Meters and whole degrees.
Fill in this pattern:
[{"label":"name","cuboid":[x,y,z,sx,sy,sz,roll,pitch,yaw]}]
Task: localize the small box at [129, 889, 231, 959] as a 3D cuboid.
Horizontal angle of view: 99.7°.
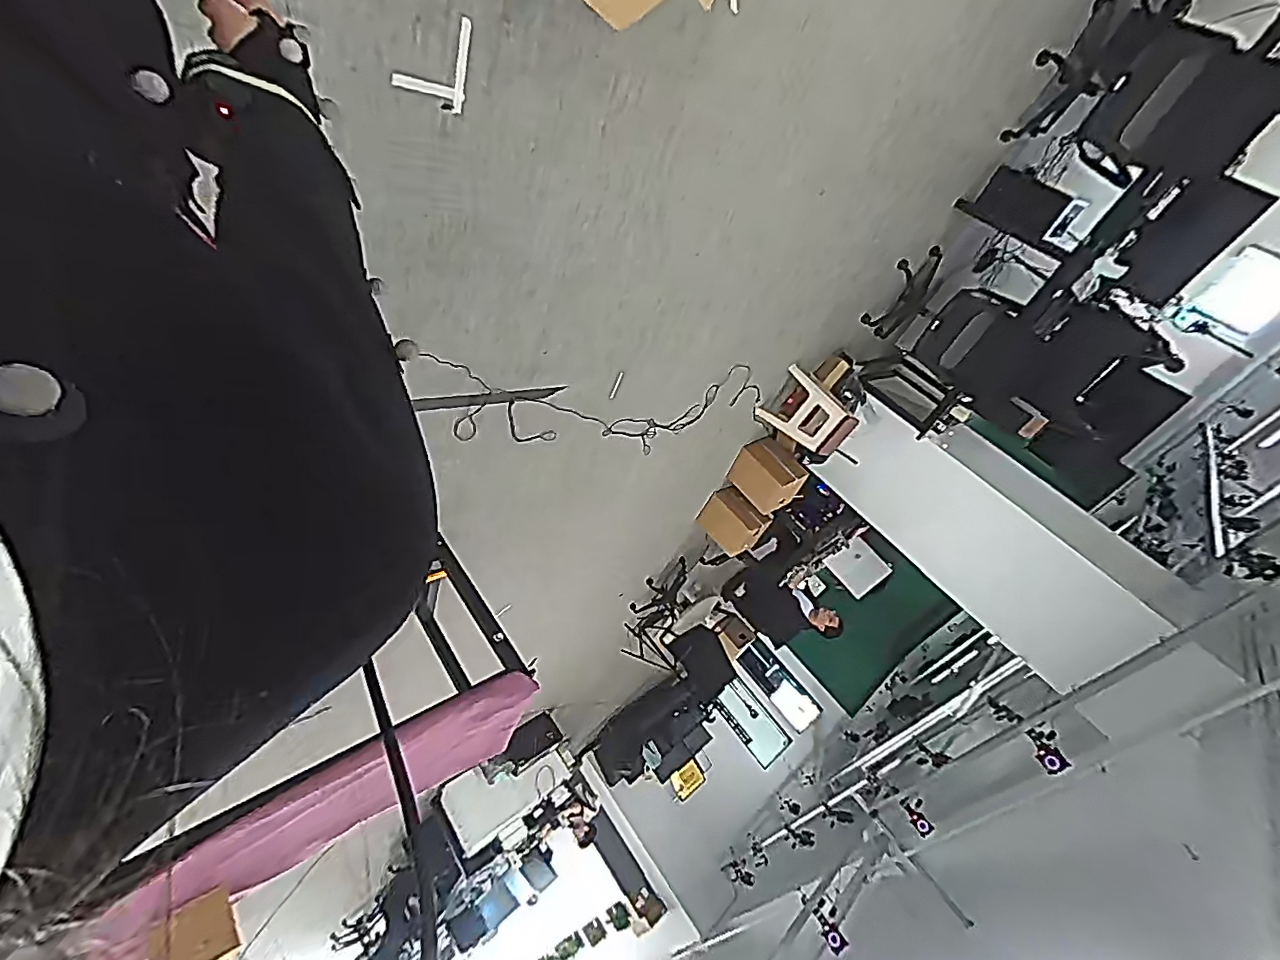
[{"label":"small box","cuboid":[-1.214,1.237,1.428,0.179,0.176,0.168,-10,138,-48]}]
